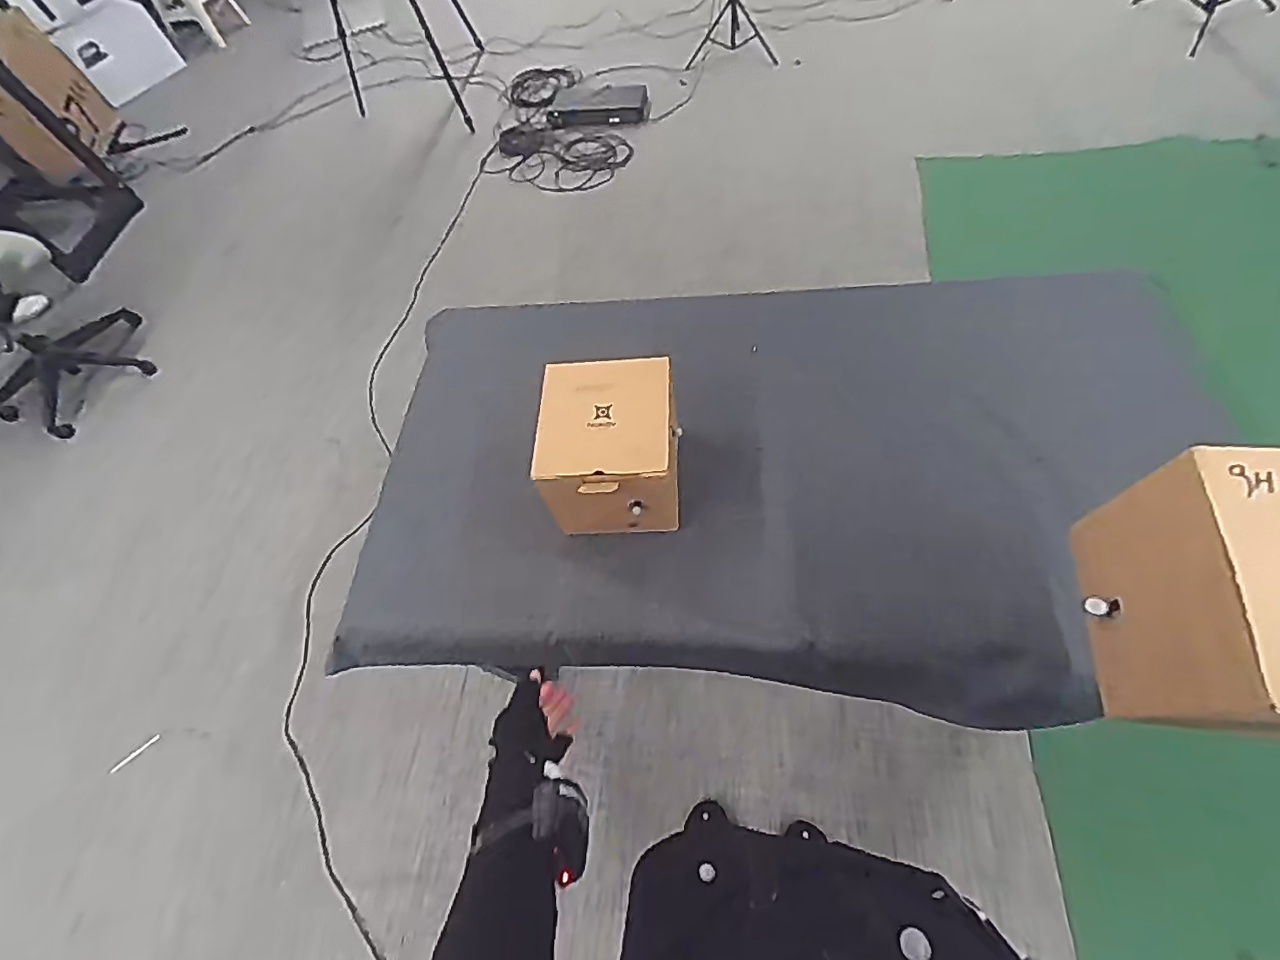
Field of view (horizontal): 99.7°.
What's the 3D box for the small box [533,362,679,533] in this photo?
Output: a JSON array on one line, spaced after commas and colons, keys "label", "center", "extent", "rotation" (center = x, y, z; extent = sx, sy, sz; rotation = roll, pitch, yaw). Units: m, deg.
[{"label": "small box", "center": [-0.034, -0.035, 0.734], "extent": [0.168, 0.176, 0.179], "rotation": [-2, 59, 6]}]
